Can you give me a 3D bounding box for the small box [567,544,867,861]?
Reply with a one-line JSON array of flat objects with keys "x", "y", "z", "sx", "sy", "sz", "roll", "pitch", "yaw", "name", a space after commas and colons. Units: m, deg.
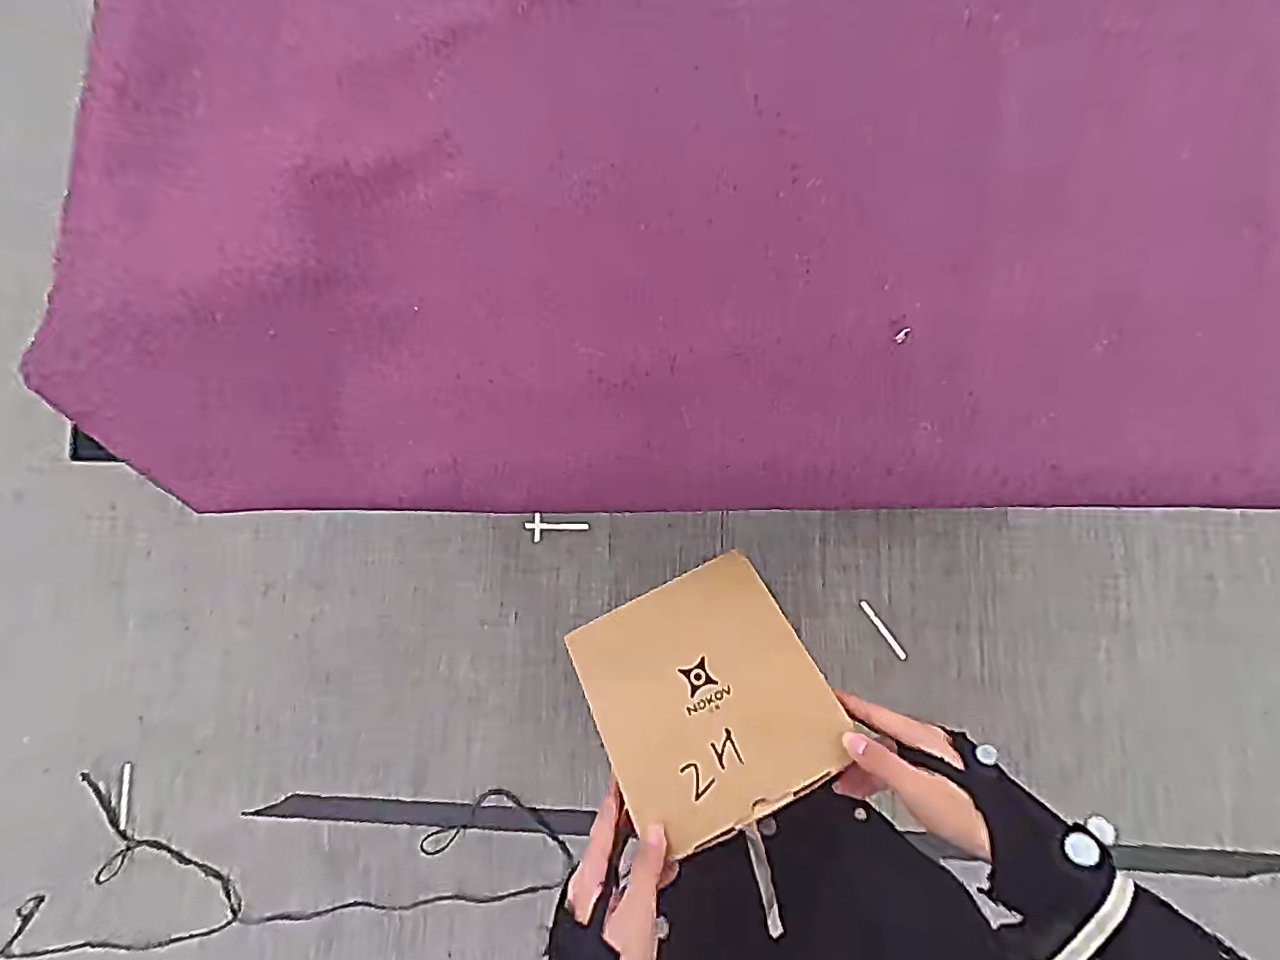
[{"x": 0.058, "y": 0.191, "z": 0.465, "sx": 0.168, "sy": 0.176, "sz": 0.179, "roll": -26, "pitch": 58, "yaw": -5, "name": "small box"}]
